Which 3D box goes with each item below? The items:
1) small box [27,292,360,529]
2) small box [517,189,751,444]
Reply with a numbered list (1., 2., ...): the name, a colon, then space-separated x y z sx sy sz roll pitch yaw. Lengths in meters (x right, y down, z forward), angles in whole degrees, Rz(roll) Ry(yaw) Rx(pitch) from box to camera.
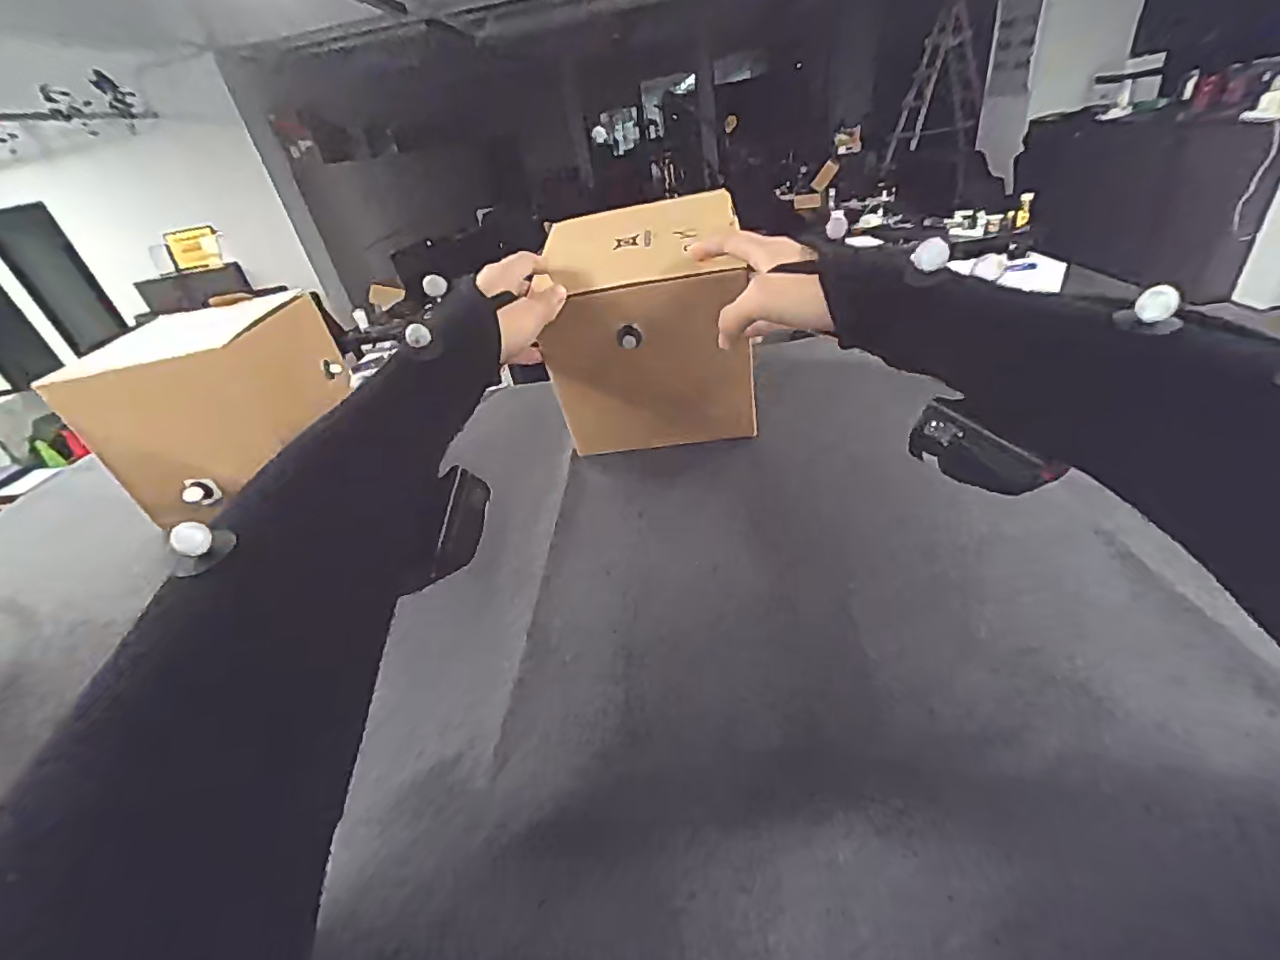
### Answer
1. small box: -0.420 -0.075 0.555 0.168 0.176 0.179 -12 33 1
2. small box: 0.007 -0.149 0.514 0.179 0.176 0.168 -6 44 9
